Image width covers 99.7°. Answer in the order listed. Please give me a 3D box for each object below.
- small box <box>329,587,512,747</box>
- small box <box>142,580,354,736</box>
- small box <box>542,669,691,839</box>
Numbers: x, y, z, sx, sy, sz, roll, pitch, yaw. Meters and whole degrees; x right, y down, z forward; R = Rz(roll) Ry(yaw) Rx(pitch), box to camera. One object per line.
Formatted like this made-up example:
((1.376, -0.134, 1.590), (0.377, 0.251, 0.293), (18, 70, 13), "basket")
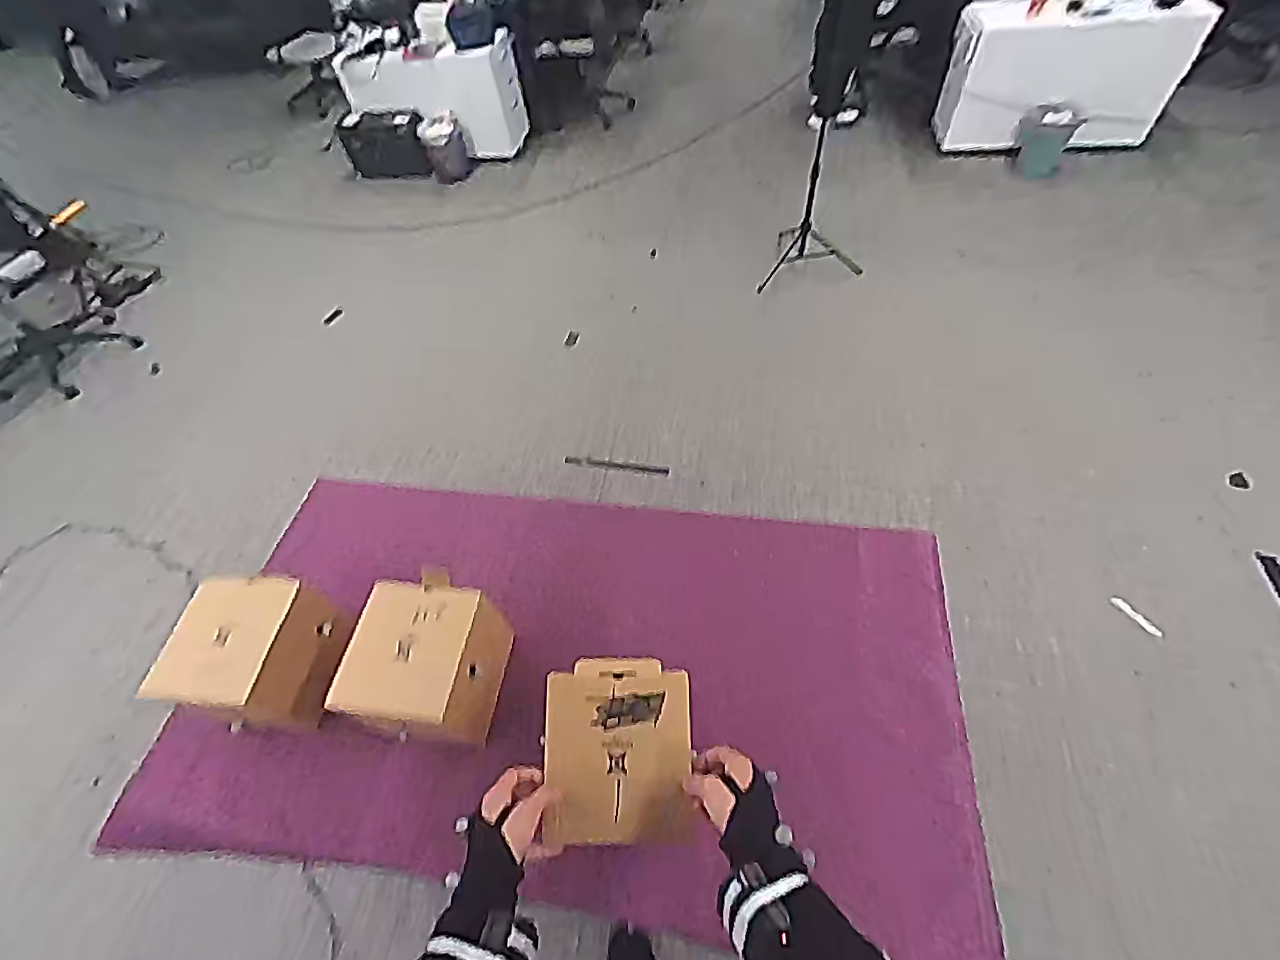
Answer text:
((-0.305, 0.280, 0.798), (0.168, 0.176, 0.179), (4, 54, 8), "small box")
((-0.577, 0.274, 0.831), (0.168, 0.176, 0.179), (2, 54, 8), "small box")
((-0.026, 0.344, 0.695), (0.168, 0.176, 0.179), (0, 66, 0), "small box")
